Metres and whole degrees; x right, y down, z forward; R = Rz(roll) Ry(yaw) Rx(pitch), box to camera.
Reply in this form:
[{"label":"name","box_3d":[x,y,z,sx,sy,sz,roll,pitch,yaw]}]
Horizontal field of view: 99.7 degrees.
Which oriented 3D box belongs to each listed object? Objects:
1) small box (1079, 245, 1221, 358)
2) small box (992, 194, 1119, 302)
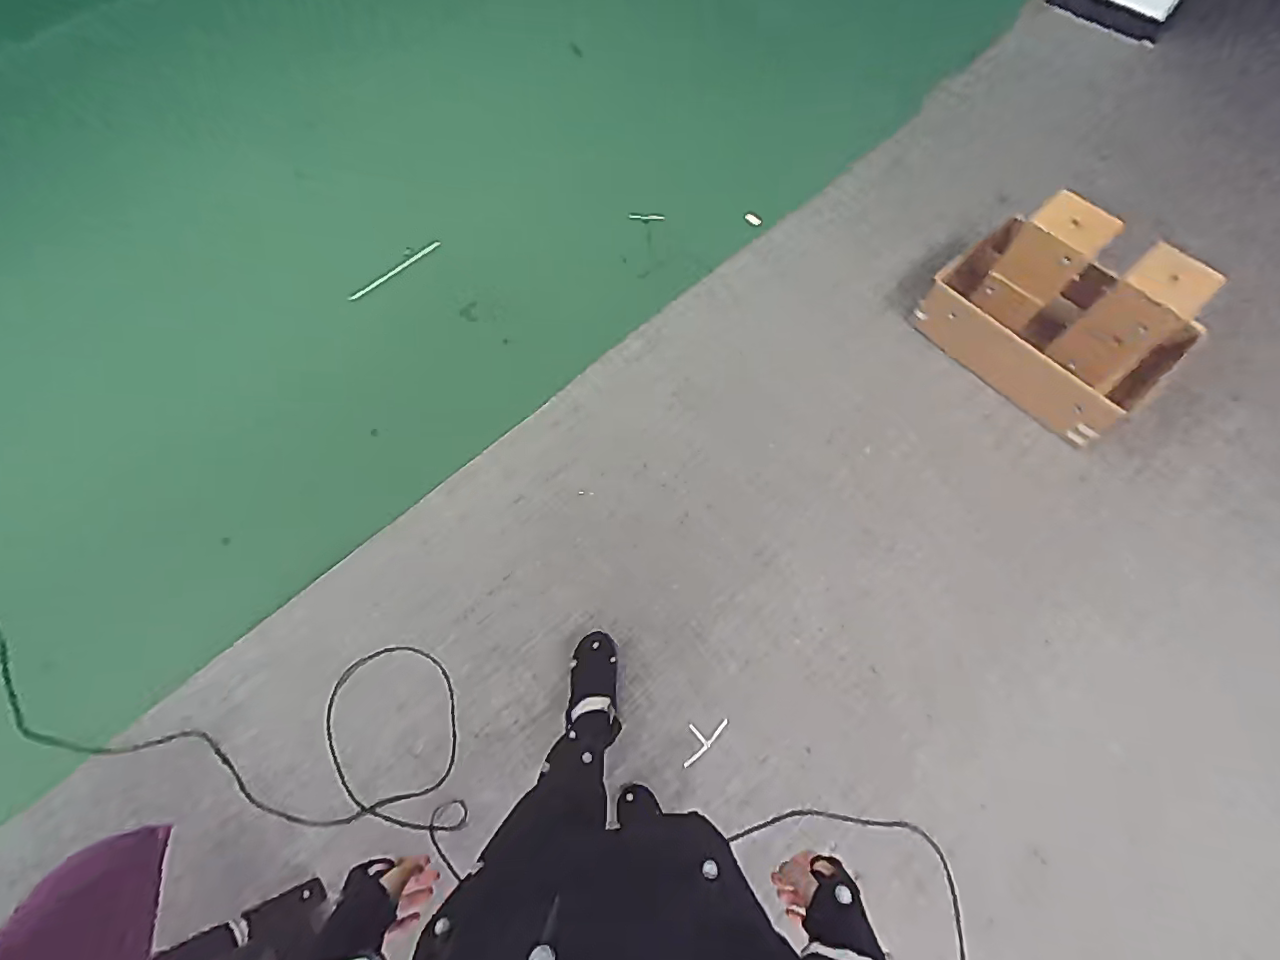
[{"label":"small box","box_3d":[1.271,-0.443,1.367,0.179,0.176,0.168,-39,70,-13]},{"label":"small box","box_3d":[1.099,-0.615,1.448,0.168,0.176,0.179,-41,72,-14]}]
